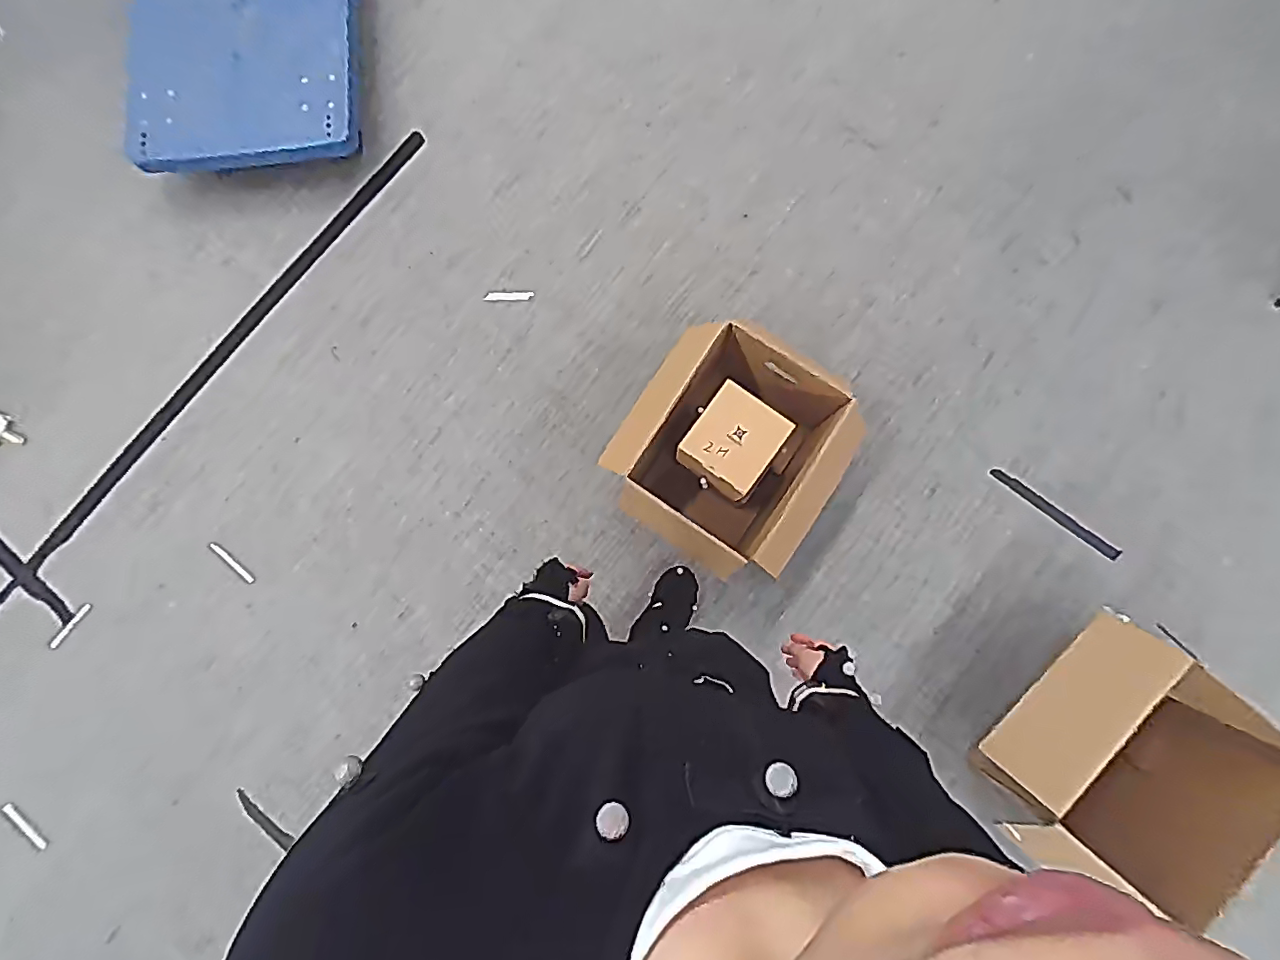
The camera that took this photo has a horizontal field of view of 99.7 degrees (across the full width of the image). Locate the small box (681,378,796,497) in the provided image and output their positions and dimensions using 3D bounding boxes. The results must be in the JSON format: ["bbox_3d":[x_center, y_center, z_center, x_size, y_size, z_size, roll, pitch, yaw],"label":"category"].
[{"bbox_3d":[0.198,-0.081,1.149,0.168,0.176,0.179,37,86,6],"label":"small box"}]
